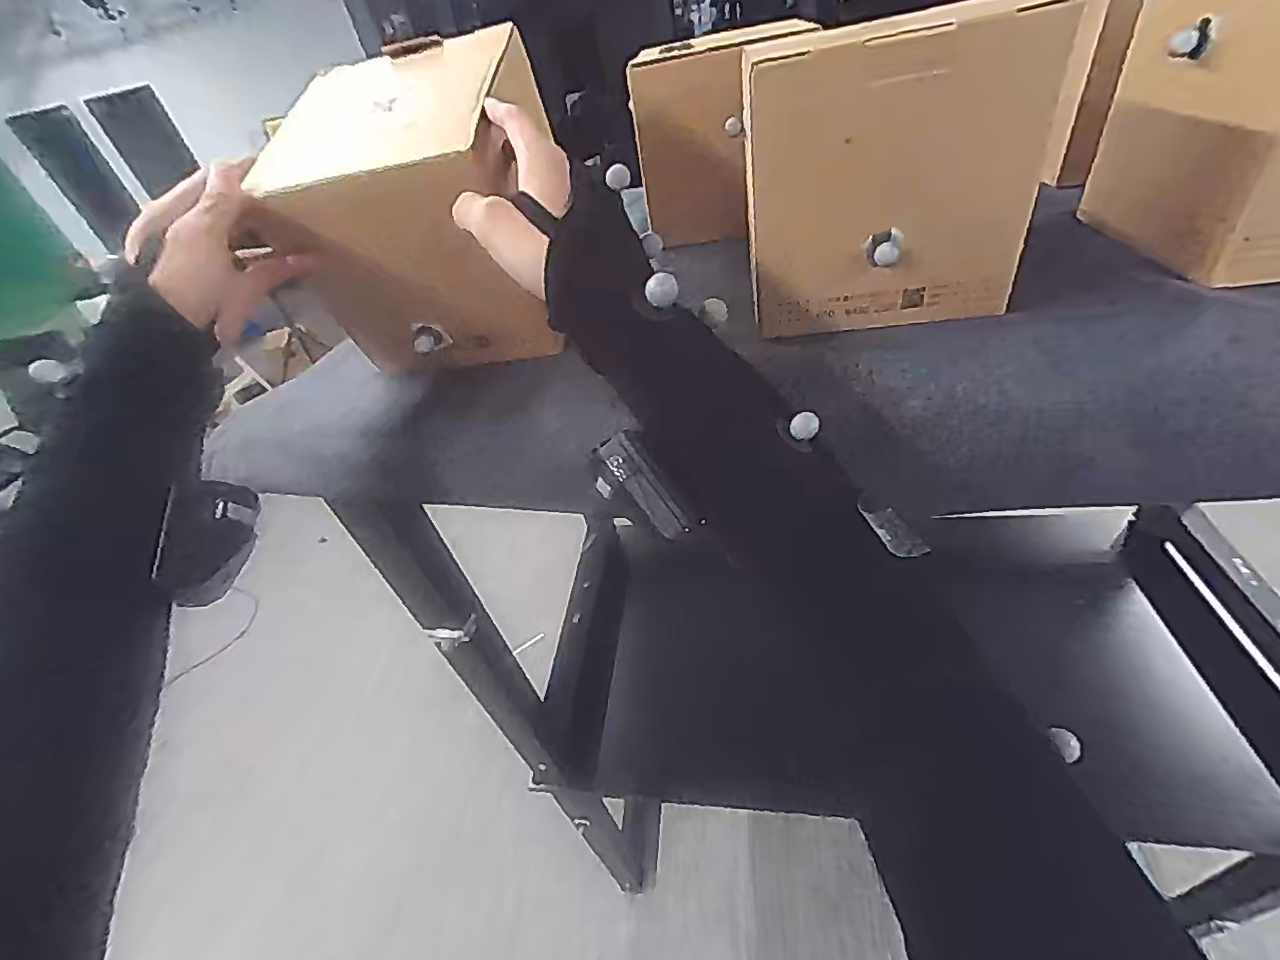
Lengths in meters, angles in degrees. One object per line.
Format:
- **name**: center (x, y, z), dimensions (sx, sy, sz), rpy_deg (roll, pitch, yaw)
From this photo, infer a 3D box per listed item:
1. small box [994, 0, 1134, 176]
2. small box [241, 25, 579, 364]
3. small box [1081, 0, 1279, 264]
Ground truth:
- **small box**: center (0.482, -0.415, 0.533), dimensions (0.168, 0.176, 0.179), rpy_deg (-3, 39, 12)
- **small box**: center (-0.154, -0.220, 0.437), dimensions (0.168, 0.176, 0.179), rpy_deg (-5, 56, 11)
- **small box**: center (0.435, -0.249, 0.346), dimensions (0.168, 0.176, 0.179), rpy_deg (-3, 38, 12)
